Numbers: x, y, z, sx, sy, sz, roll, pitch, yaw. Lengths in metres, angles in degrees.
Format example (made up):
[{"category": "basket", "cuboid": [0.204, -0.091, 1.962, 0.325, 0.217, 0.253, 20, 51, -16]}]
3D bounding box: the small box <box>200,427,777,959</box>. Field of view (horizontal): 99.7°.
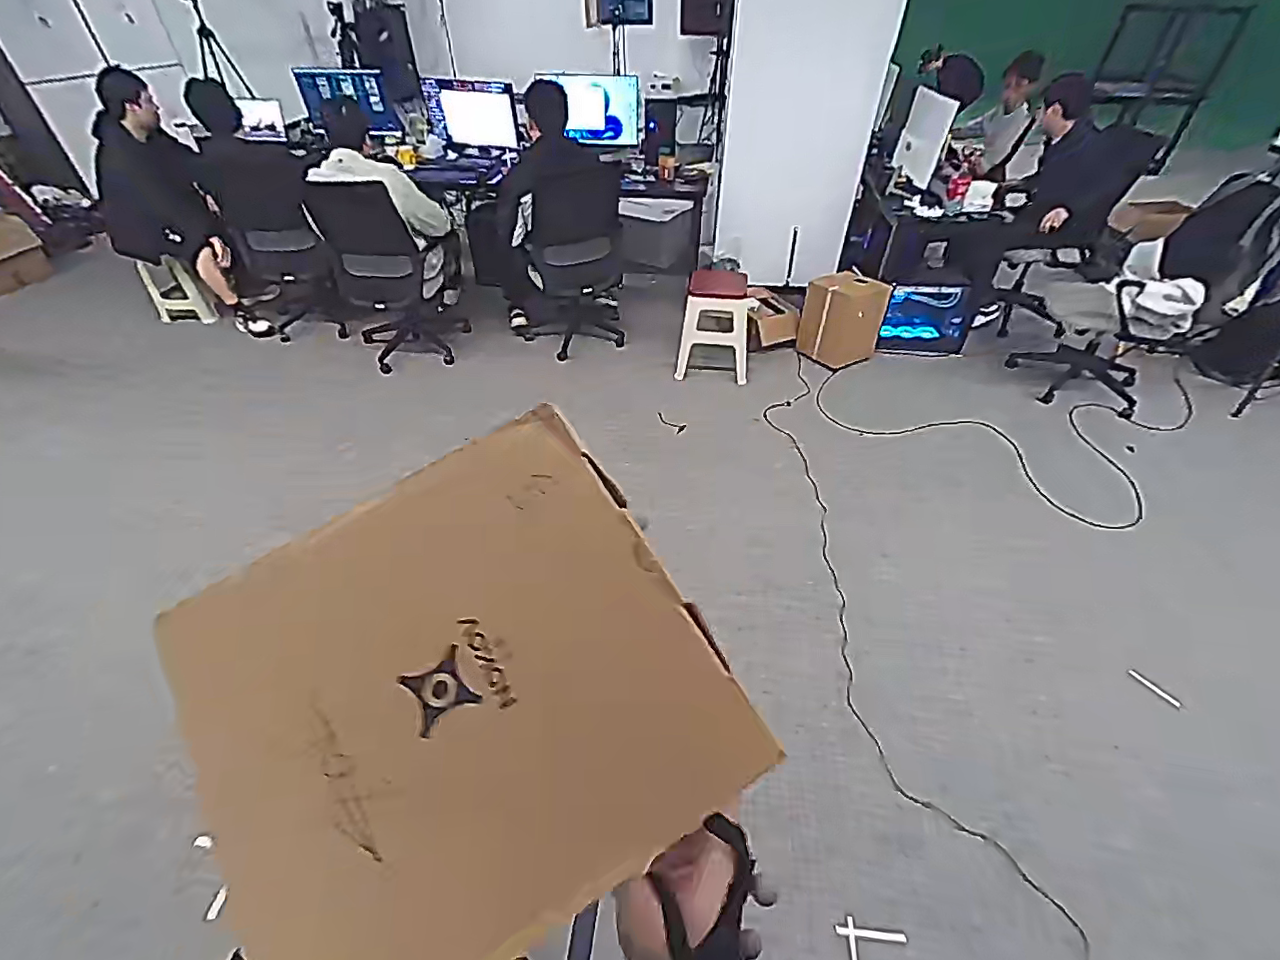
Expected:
[{"category": "small box", "cuboid": [-0.061, 0.109, 0.282, 0.179, 0.176, 0.168, -31, 70, -10]}]
